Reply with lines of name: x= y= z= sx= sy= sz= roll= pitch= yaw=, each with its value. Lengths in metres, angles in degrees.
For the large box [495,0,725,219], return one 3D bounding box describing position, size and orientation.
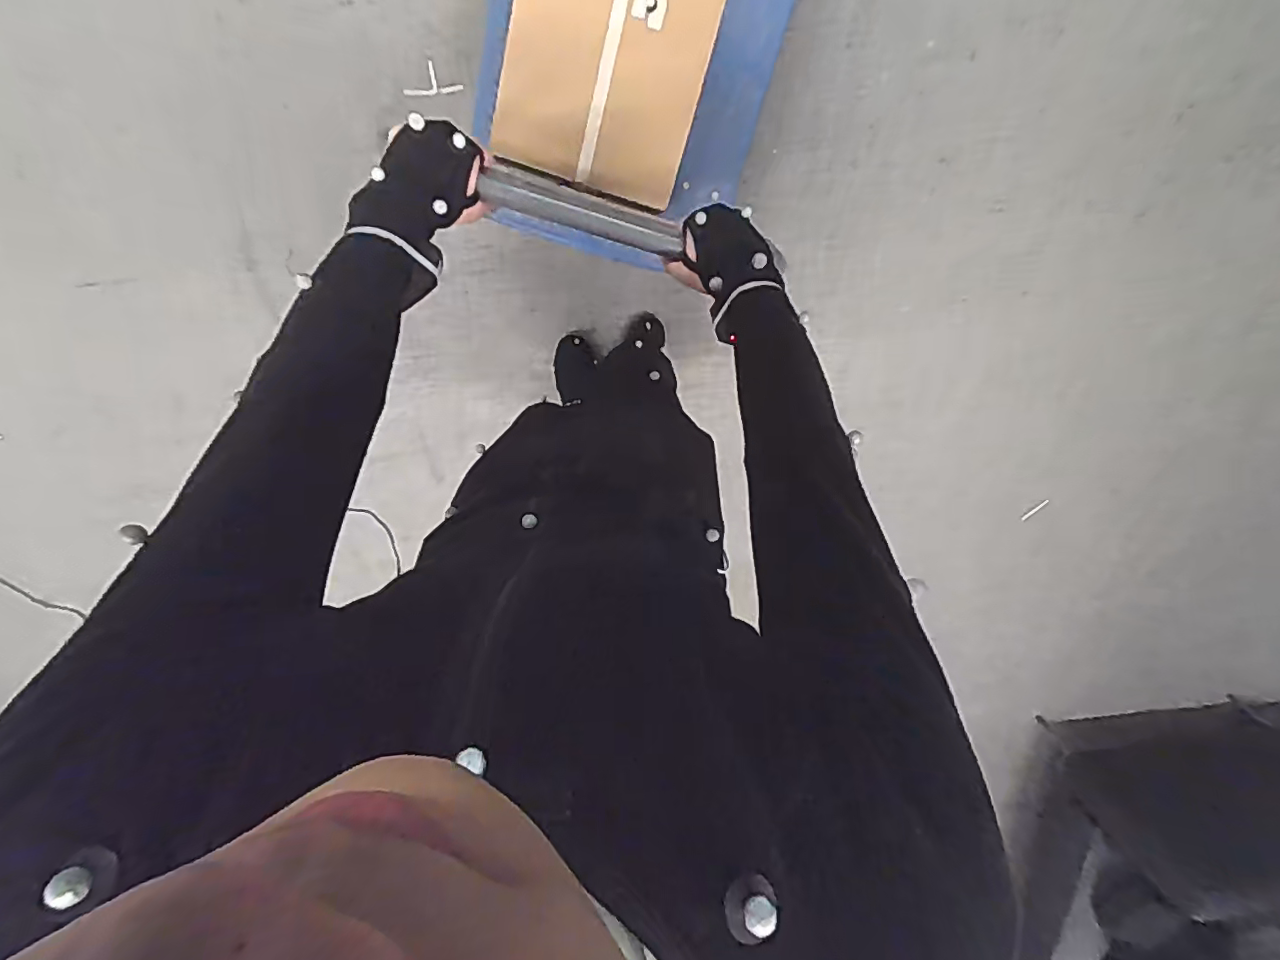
large box: x=-0.054 y=-0.744 z=0.994 sx=0.320 sy=0.320 sz=0.408 roll=14 pitch=111 yaw=-10
